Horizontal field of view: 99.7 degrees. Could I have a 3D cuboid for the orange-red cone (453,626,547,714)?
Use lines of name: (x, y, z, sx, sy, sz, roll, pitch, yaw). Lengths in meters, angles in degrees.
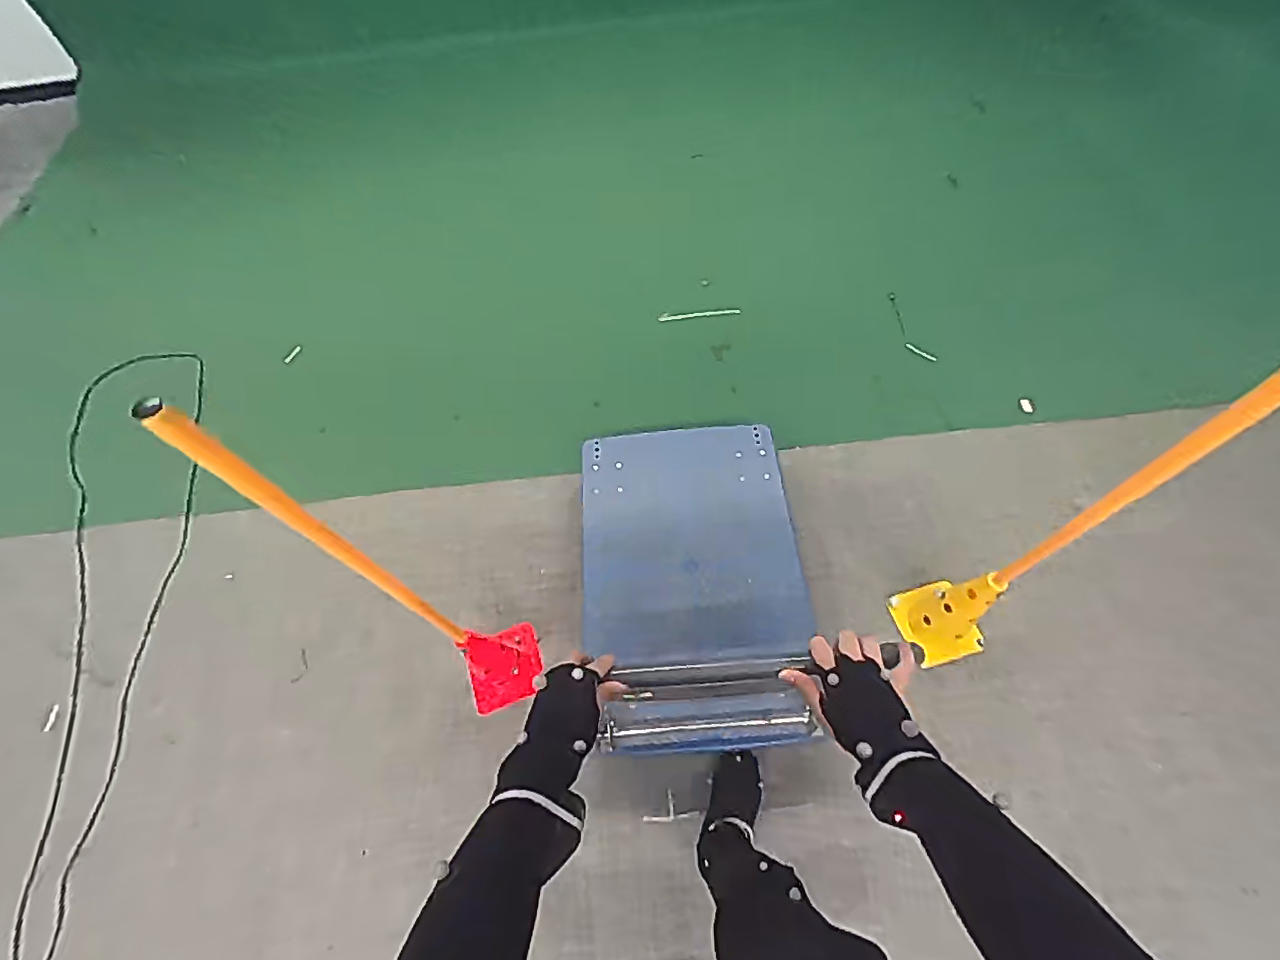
orange-red cone: (-0.383, 0.440, 1.348, 0.199, 0.360, 0.198, -20, 61, -5)
